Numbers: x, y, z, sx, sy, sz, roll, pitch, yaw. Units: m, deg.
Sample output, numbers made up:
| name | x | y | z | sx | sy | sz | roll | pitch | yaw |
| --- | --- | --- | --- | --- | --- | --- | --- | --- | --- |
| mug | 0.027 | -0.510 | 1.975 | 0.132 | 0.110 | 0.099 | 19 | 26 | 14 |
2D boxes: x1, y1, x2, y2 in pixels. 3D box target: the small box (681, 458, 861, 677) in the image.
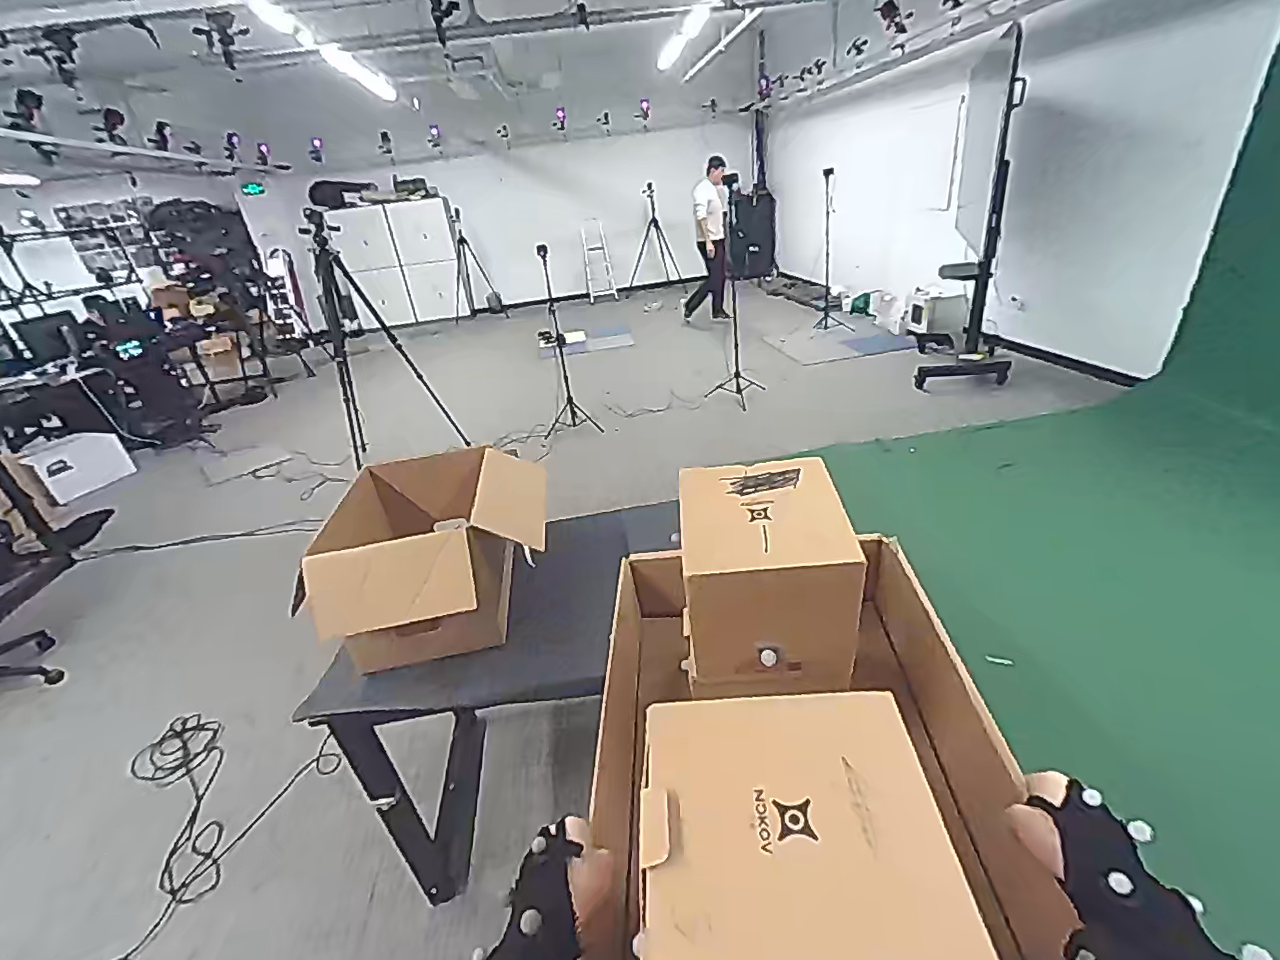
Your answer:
| name | x | y | z | sx | sy | sz | roll | pitch | yaw |
| --- | --- | --- | --- | --- | --- | --- | --- | --- | --- |
| small box | 0.134 | 0.096 | 0.610 | 0.168 | 0.176 | 0.179 | -5 | 36 | 6 |

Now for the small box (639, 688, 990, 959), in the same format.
| name | x | y | z | sx | sy | sz | roll | pitch | yaw |
| --- | --- | --- | --- | --- | --- | --- | --- | --- | --- |
| small box | 0.098 | 0.269 | 0.375 | 0.179 | 0.176 | 0.168 | -5 | 35 | 5 |
